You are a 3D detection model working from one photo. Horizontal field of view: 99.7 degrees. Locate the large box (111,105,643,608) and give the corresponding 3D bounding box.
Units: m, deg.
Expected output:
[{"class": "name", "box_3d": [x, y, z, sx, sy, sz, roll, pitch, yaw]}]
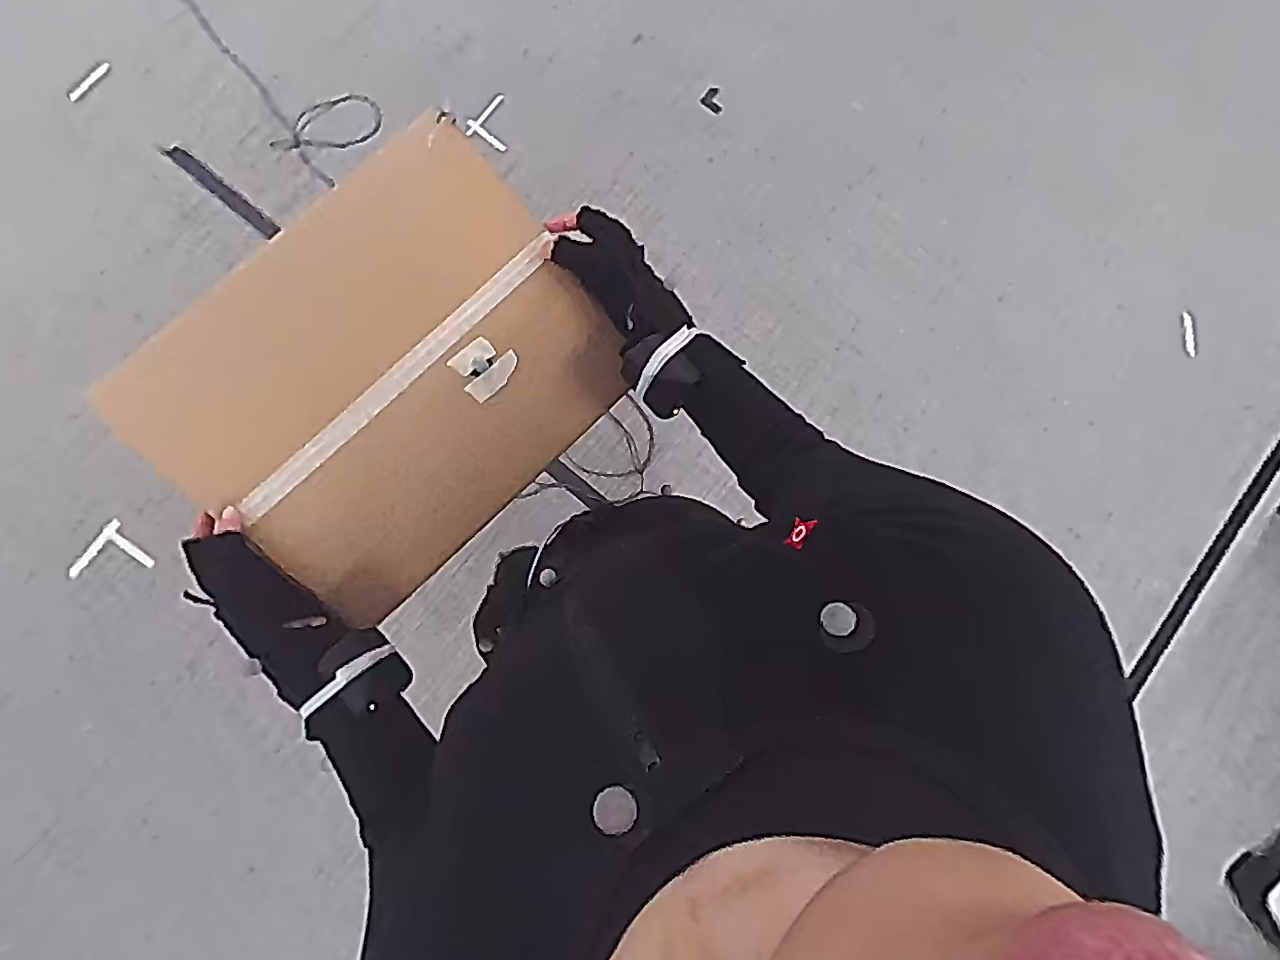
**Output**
[{"class": "large box", "box_3d": [-0.266, -0.125, 0.673, 0.408, 0.320, 0.320, -44, 103, -5]}]
